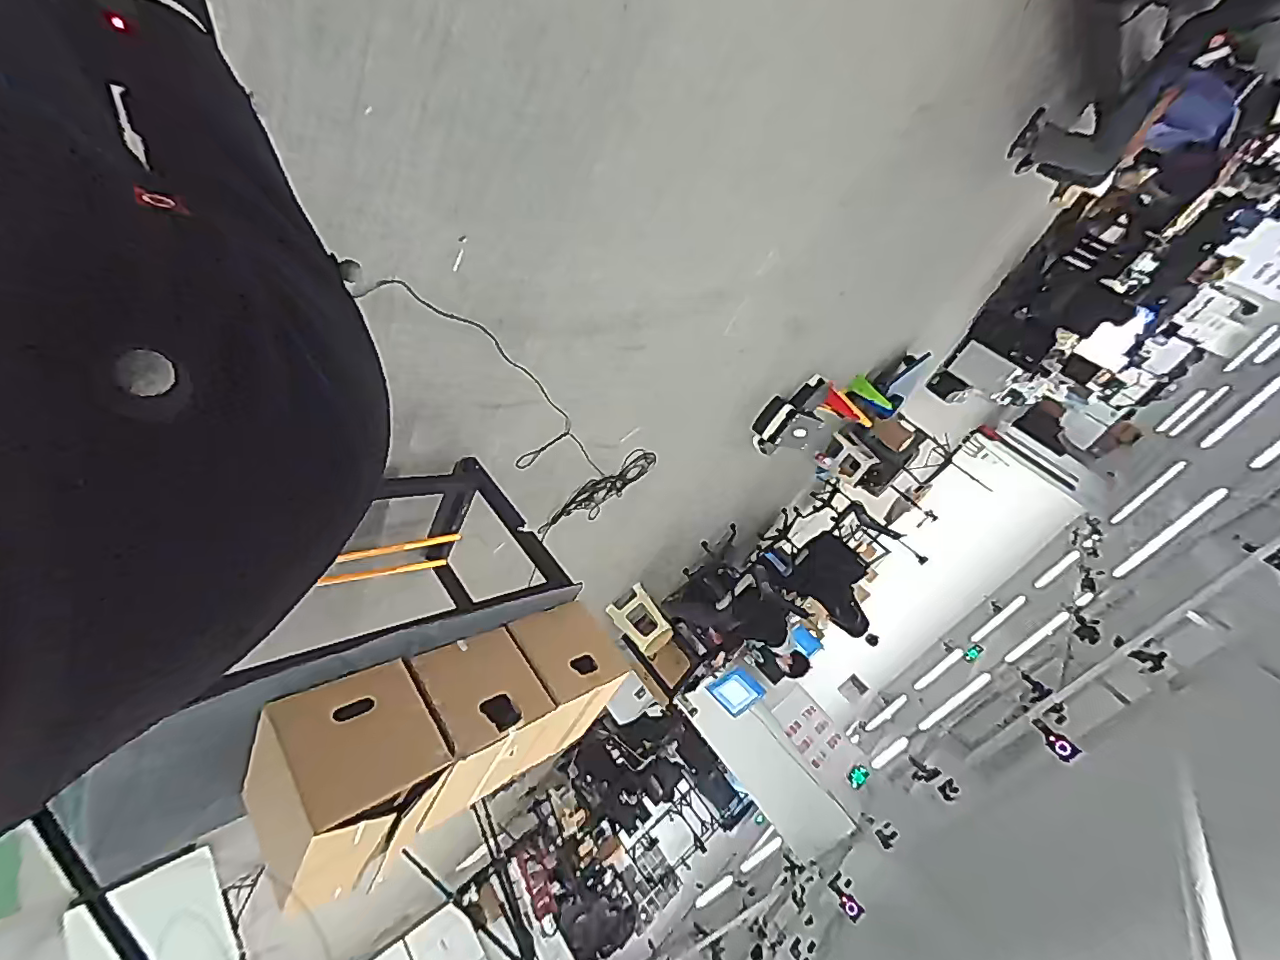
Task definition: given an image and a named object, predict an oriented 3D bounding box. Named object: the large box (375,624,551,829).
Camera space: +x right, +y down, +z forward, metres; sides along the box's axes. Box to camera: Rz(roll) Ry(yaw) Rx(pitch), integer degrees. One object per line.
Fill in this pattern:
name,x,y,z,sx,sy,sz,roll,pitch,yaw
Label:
large box,-0.521,0.692,1.557,0.320,0.320,0.408,-9,136,-50
